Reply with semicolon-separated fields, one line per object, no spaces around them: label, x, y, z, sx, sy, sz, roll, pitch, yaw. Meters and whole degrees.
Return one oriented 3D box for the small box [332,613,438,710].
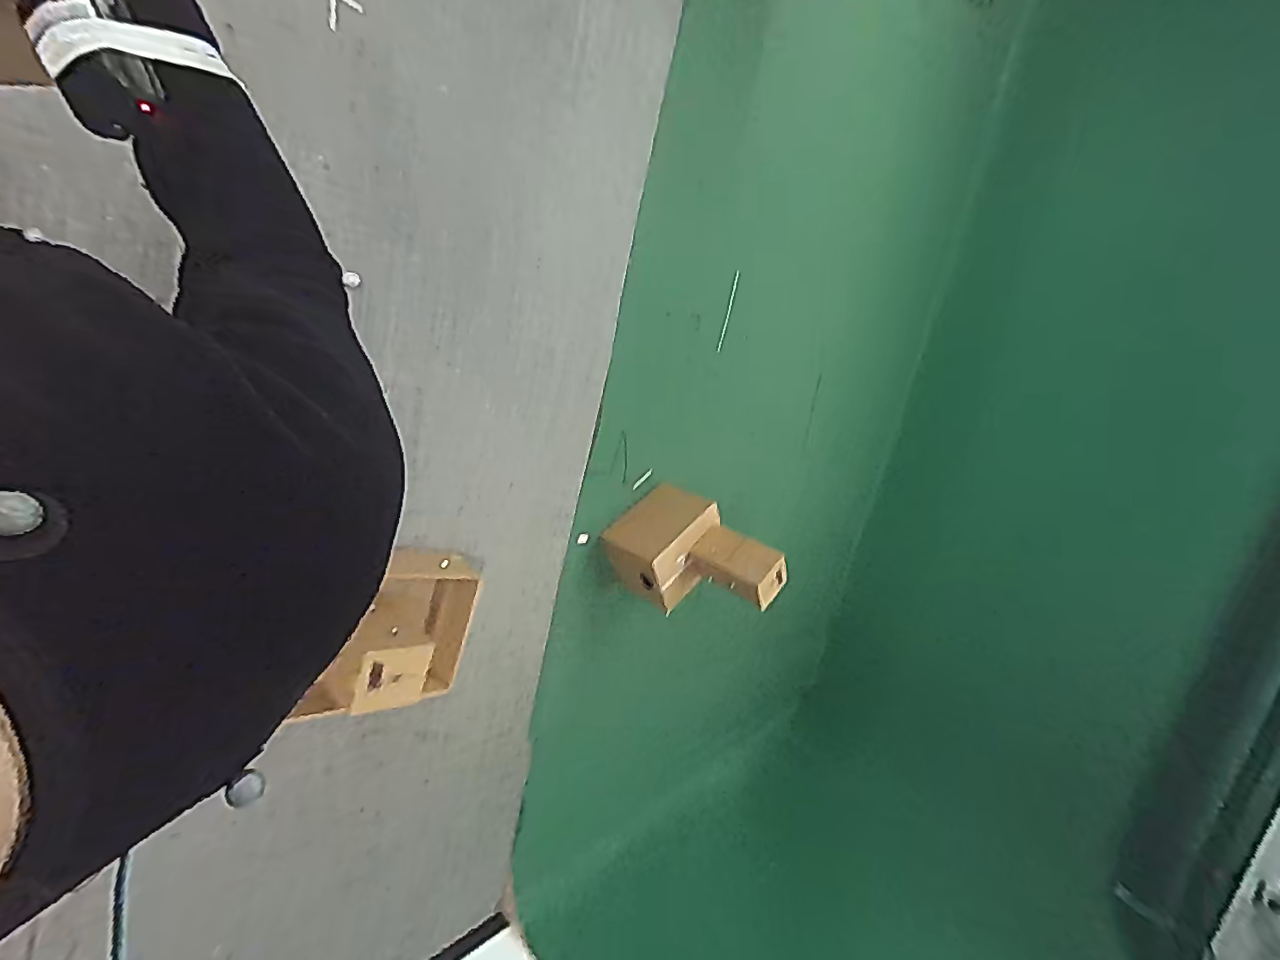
small box;-0.652;0.451;1.374;0.179;0.176;0.168;11;99;-50
